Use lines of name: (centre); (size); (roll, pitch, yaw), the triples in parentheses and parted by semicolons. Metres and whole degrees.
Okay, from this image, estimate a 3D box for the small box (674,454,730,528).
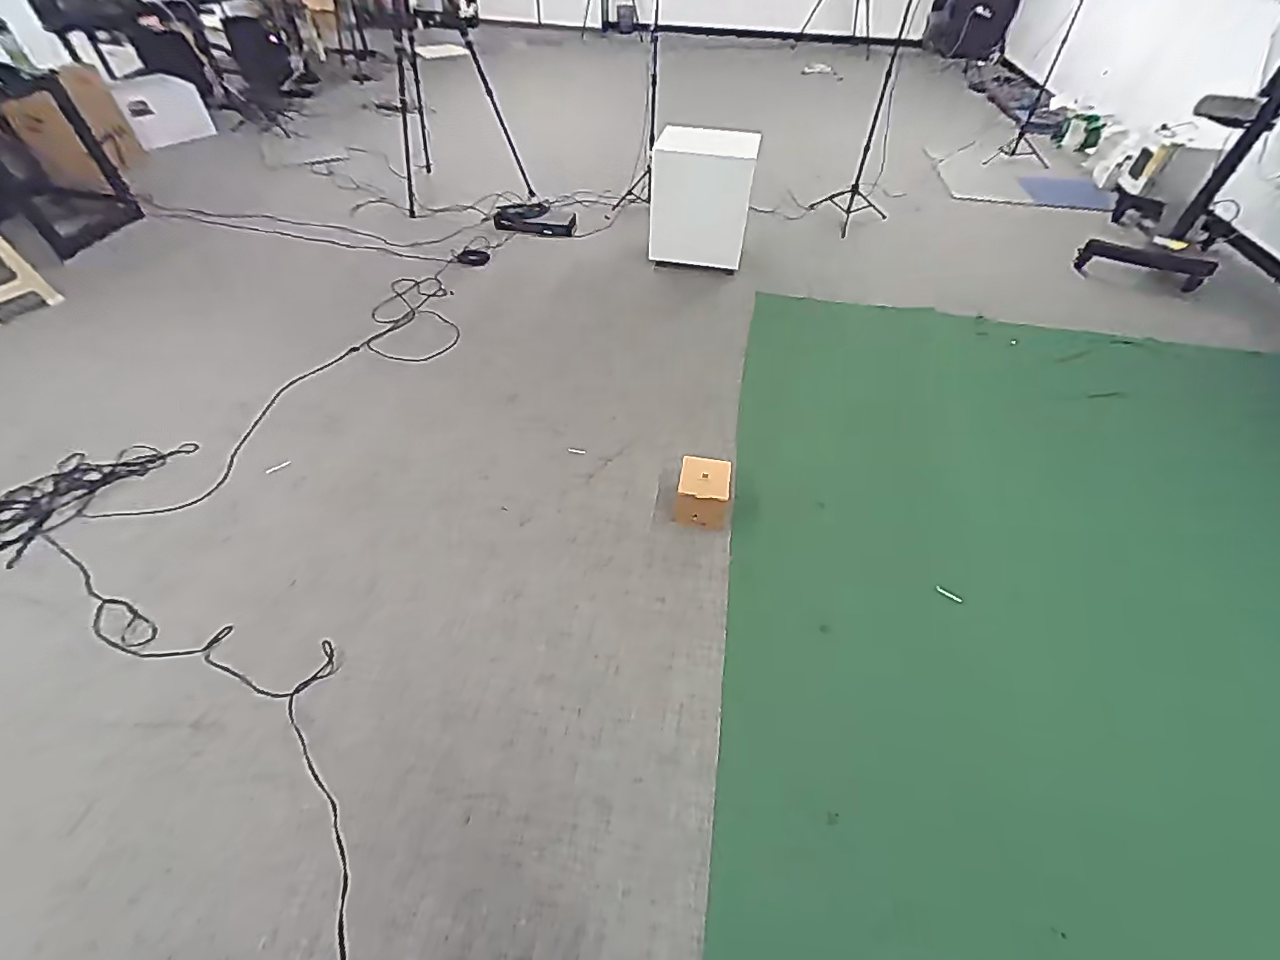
small box: (0.212, 0.039, 1.862); (0.168, 0.176, 0.179); (8, 49, 5)
